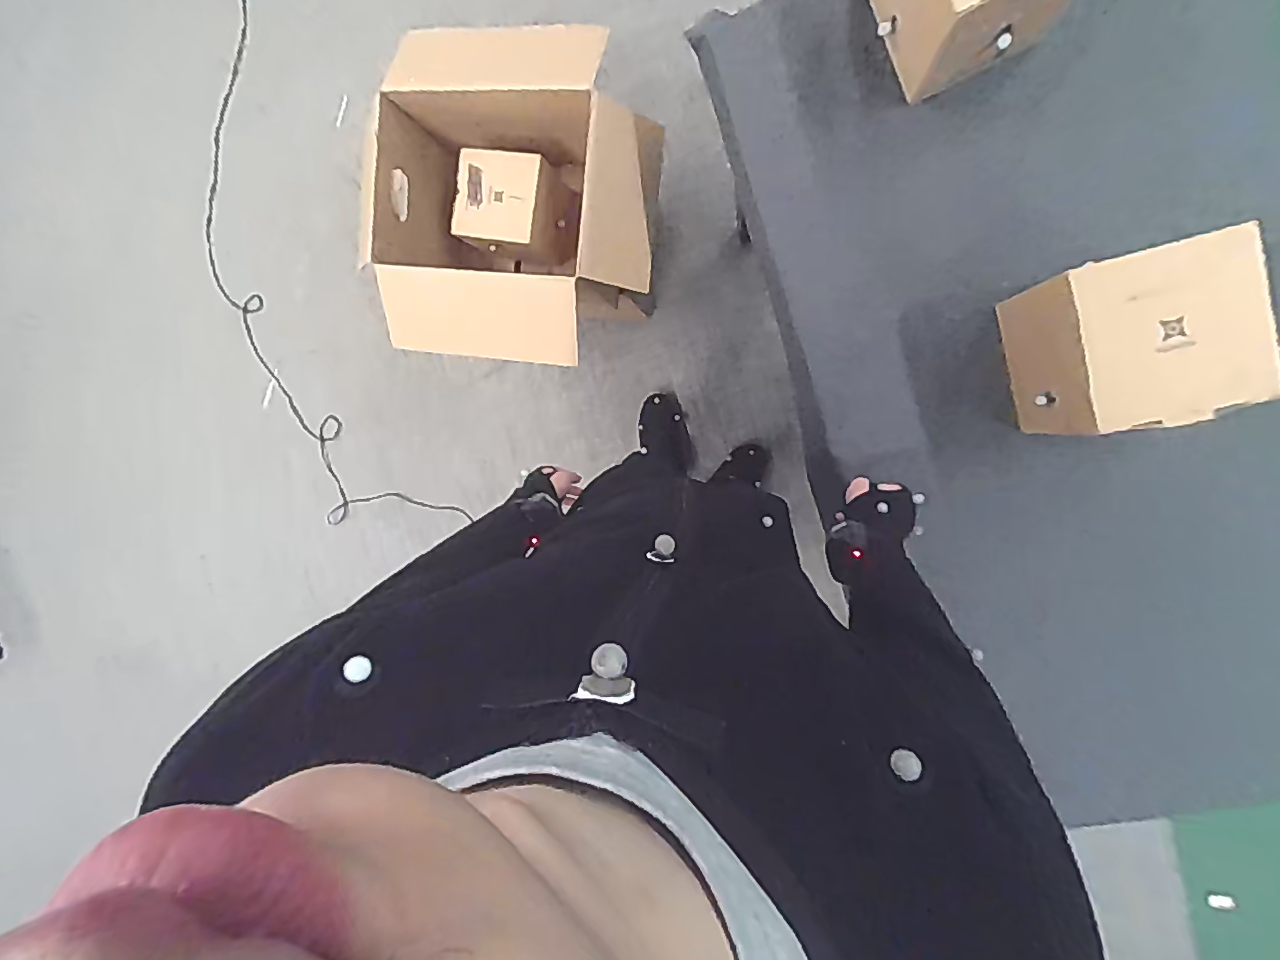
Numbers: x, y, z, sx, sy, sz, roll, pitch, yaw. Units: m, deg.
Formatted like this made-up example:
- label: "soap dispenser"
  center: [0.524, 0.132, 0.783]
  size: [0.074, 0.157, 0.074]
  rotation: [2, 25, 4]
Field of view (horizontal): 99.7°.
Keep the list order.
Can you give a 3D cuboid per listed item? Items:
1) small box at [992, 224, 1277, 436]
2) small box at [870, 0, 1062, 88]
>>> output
- label: "small box"
  center: [0.539, -0.154, 0.617]
  size: [0.168, 0.176, 0.179]
  rotation: [-13, 92, 11]
- label: "small box"
  center: [0.372, -0.585, 0.601]
  size: [0.168, 0.176, 0.179]
  rotation: [-21, 93, 12]
